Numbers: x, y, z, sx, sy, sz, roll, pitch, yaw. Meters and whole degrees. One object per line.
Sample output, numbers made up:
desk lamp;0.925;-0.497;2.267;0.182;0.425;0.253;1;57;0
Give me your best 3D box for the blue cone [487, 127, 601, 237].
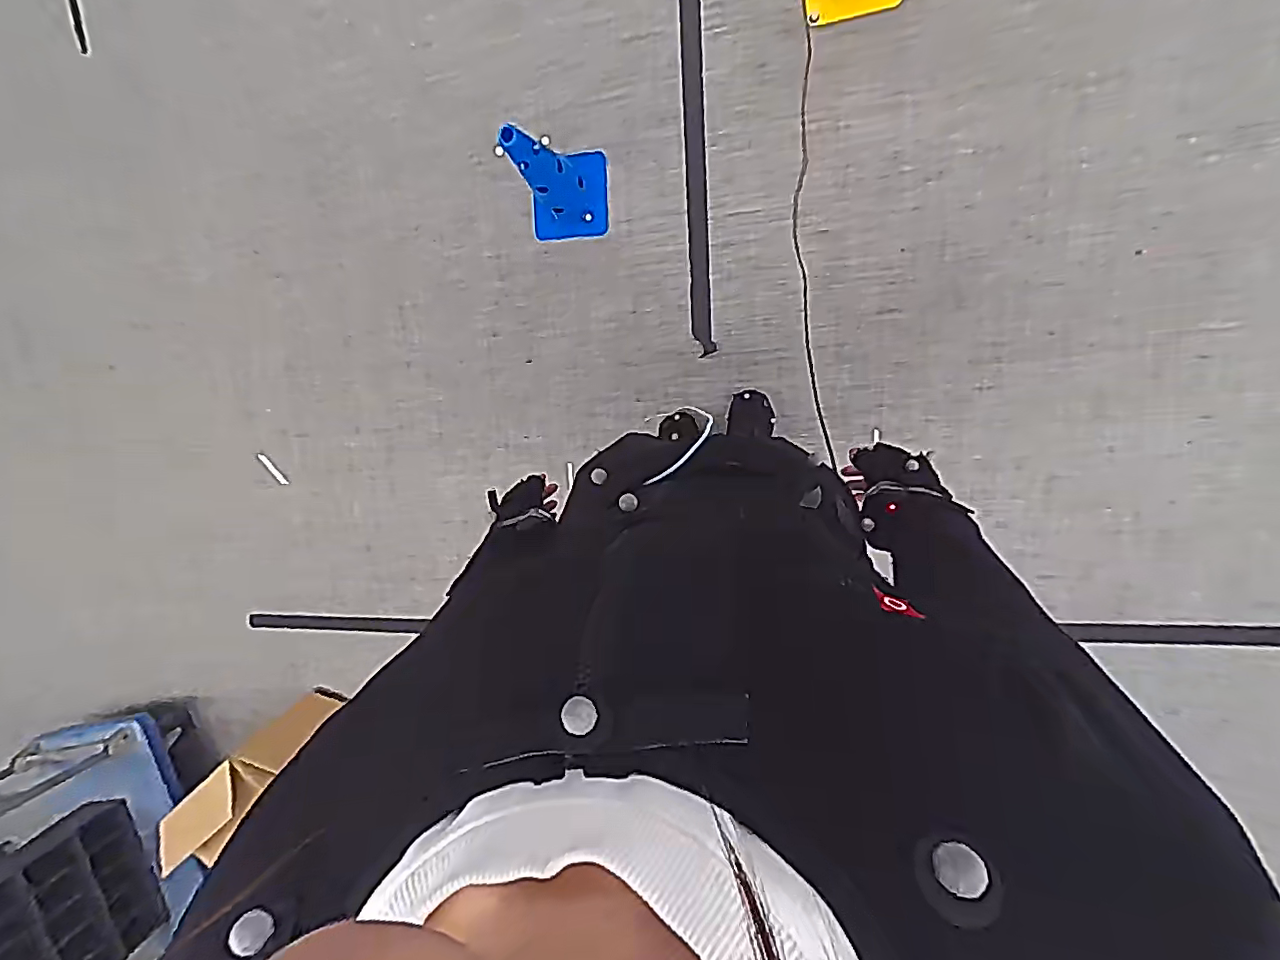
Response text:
blue cone;-0.228;-0.700;1.226;0.192;0.380;0.193;3;100;13
